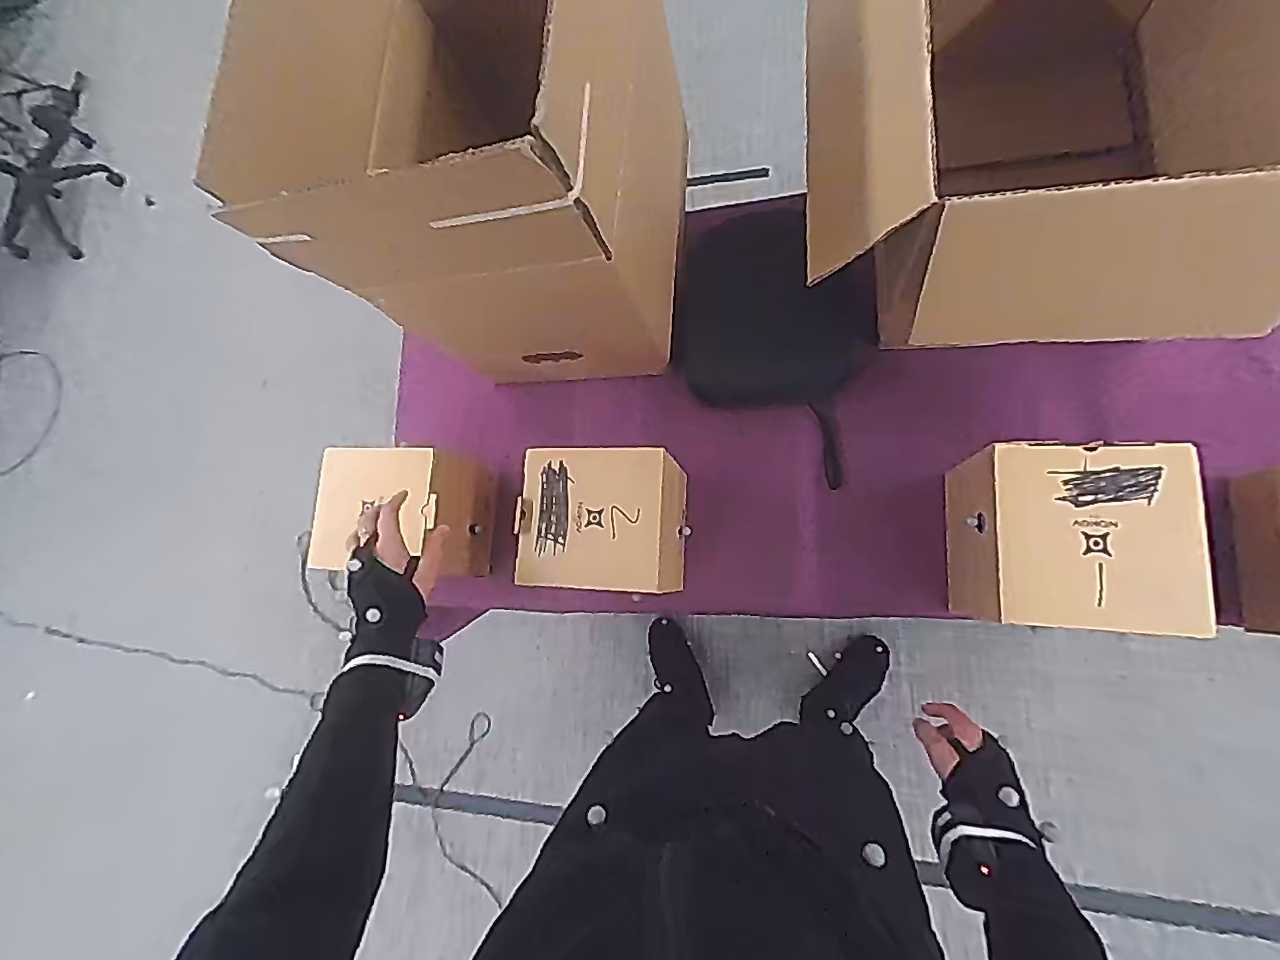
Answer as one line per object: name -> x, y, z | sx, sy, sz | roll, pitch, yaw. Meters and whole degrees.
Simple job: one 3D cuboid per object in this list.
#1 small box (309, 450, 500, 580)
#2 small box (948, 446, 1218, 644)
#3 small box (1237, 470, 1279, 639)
small box -> -0.328, 0.056, 0.781 | 0.179, 0.176, 0.168 | 1, 80, 14
small box -> 0.440, 0.068, 0.573 | 0.168, 0.176, 0.179 | 1, 81, 15
small box -> 0.715, 0.070, 0.497 | 0.168, 0.176, 0.179 | 2, 80, 16
